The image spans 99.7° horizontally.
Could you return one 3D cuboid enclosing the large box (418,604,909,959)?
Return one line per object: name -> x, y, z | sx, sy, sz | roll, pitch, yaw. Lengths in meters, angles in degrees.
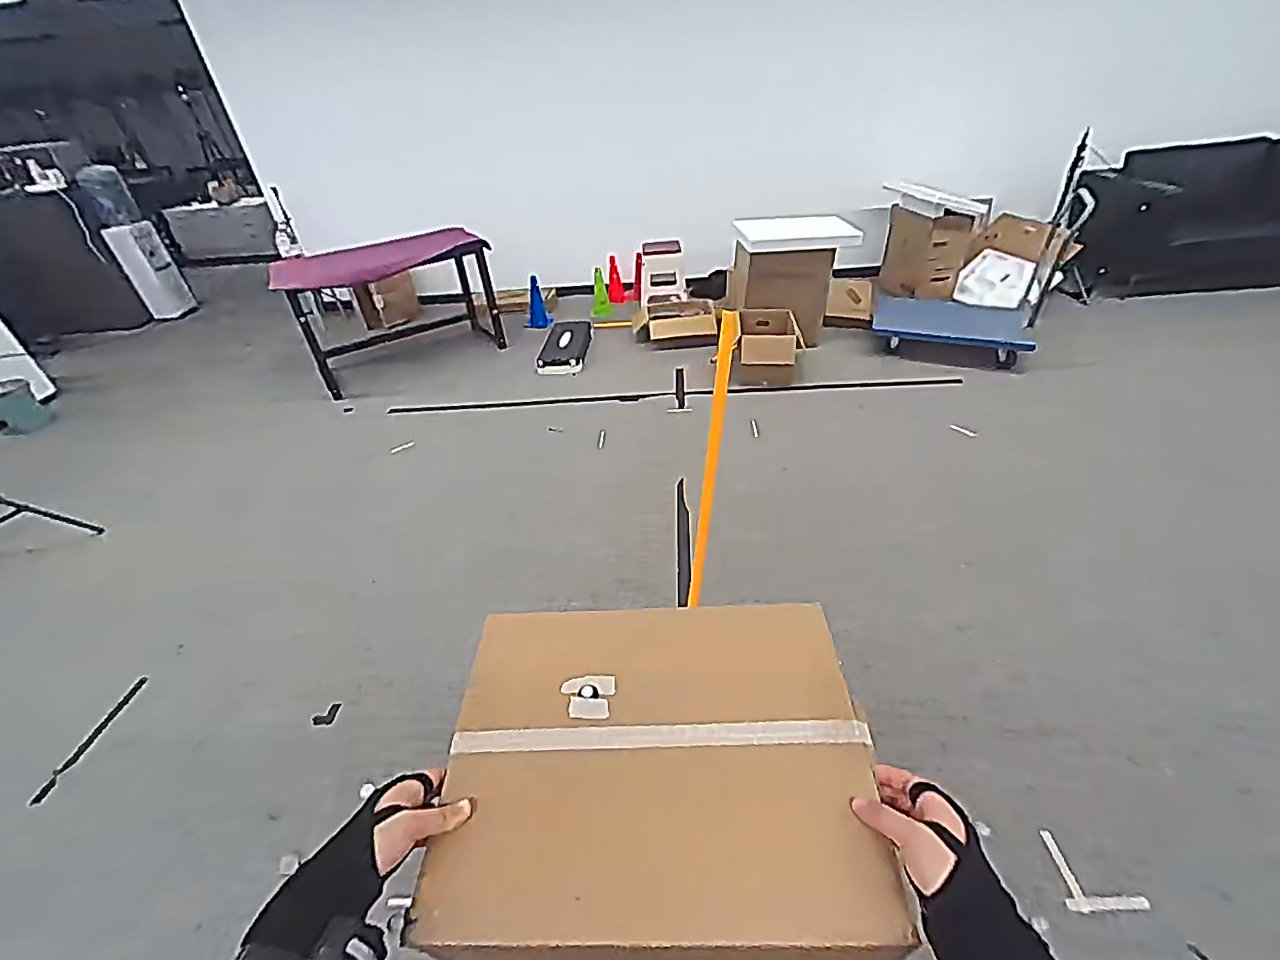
large box -> 0.030, 0.377, 0.638 | 0.408, 0.320, 0.320 | -5, 39, 4
